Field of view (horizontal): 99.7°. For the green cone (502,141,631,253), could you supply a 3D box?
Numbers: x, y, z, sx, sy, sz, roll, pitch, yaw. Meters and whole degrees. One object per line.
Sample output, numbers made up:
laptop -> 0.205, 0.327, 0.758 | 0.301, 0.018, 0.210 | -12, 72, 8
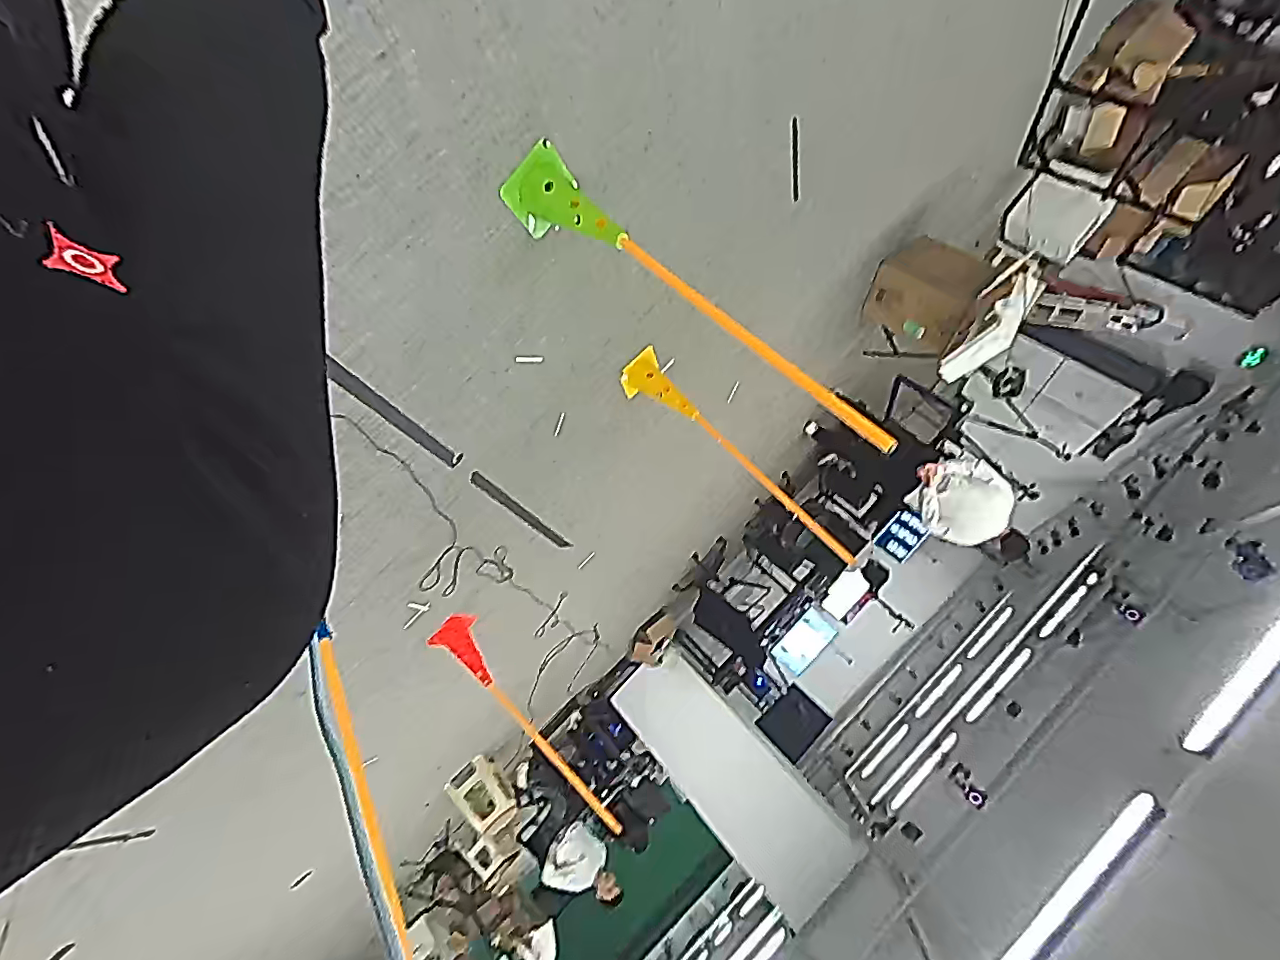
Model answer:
green cone -> -0.162, -0.701, 1.442 | 0.200, 0.368, 0.202 | -50, 156, 4

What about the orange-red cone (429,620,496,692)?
orange-red cone -> -0.804, 0.866, 2.582 | 0.199, 0.360, 0.198 | -49, 154, -2
